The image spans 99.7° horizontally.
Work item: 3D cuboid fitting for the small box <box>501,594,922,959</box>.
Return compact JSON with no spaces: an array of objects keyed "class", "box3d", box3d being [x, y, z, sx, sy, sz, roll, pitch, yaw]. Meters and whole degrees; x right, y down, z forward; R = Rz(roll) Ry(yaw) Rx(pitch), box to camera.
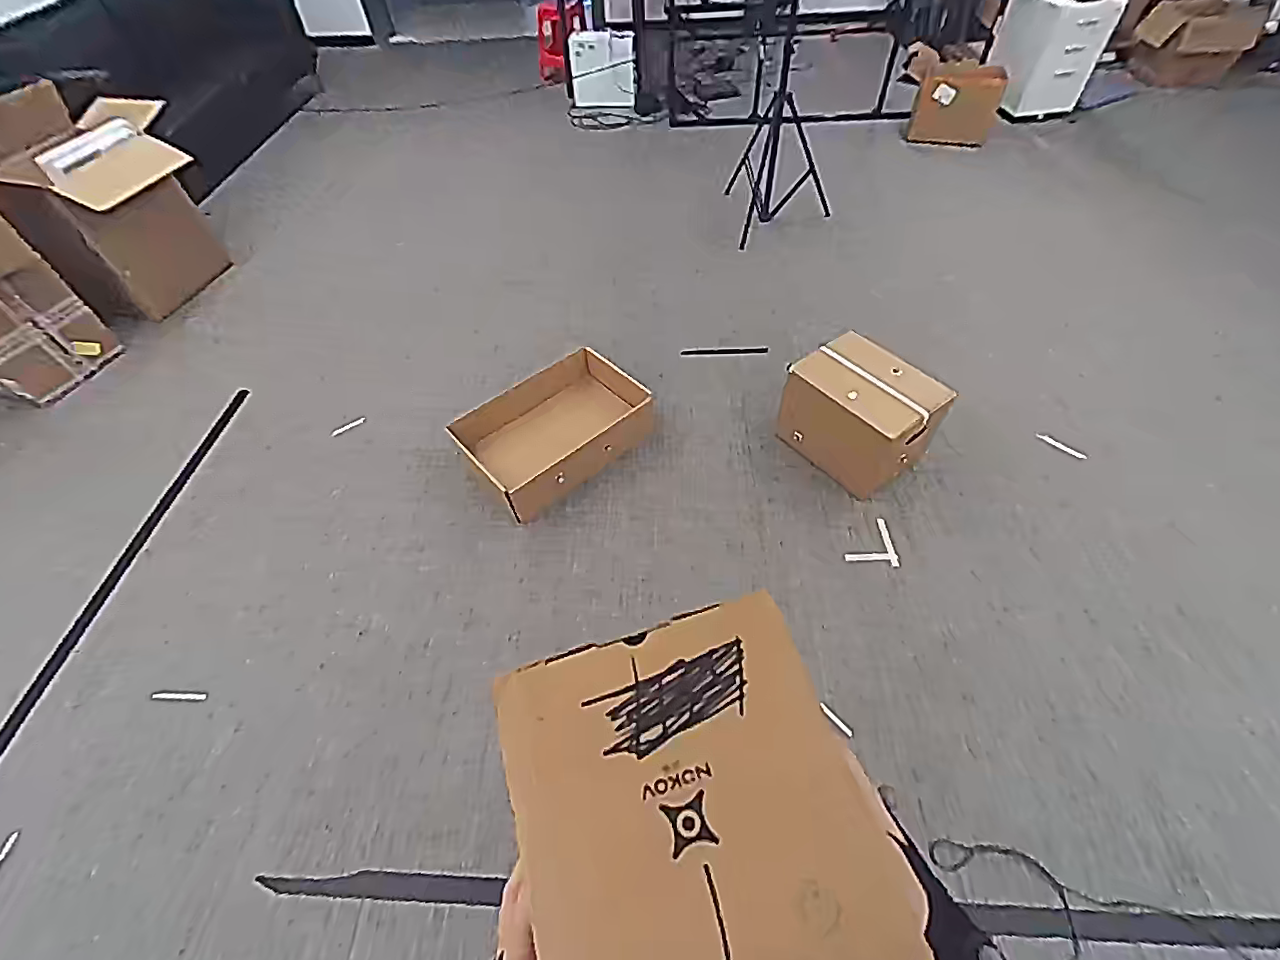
[{"class":"small box","box3d":[0.027,0.197,0.339,0.168,0.176,0.179,-17,62,-5]}]
